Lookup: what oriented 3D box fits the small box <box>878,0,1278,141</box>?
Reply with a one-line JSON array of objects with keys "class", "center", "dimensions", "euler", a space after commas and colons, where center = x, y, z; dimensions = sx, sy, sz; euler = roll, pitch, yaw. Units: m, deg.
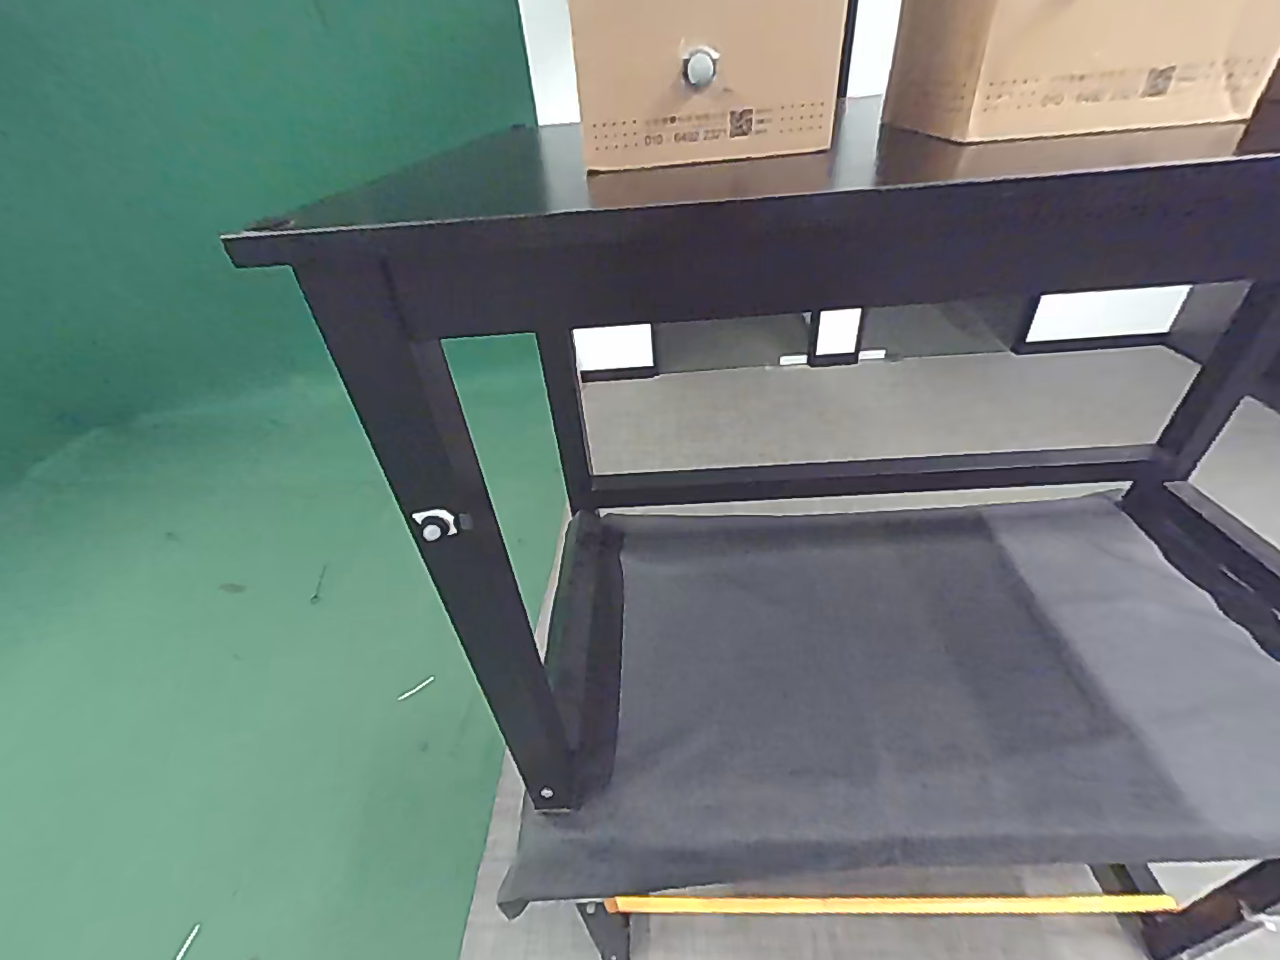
[{"class": "small box", "center": [0.270, -0.325, 0.346], "dimensions": [0.168, 0.176, 0.179], "euler": [-2, 37, 6]}]

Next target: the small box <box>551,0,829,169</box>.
[{"class": "small box", "center": [0.027, -0.327, 0.380], "dimensions": [0.168, 0.176, 0.179], "euler": [-5, 38, 1]}]
